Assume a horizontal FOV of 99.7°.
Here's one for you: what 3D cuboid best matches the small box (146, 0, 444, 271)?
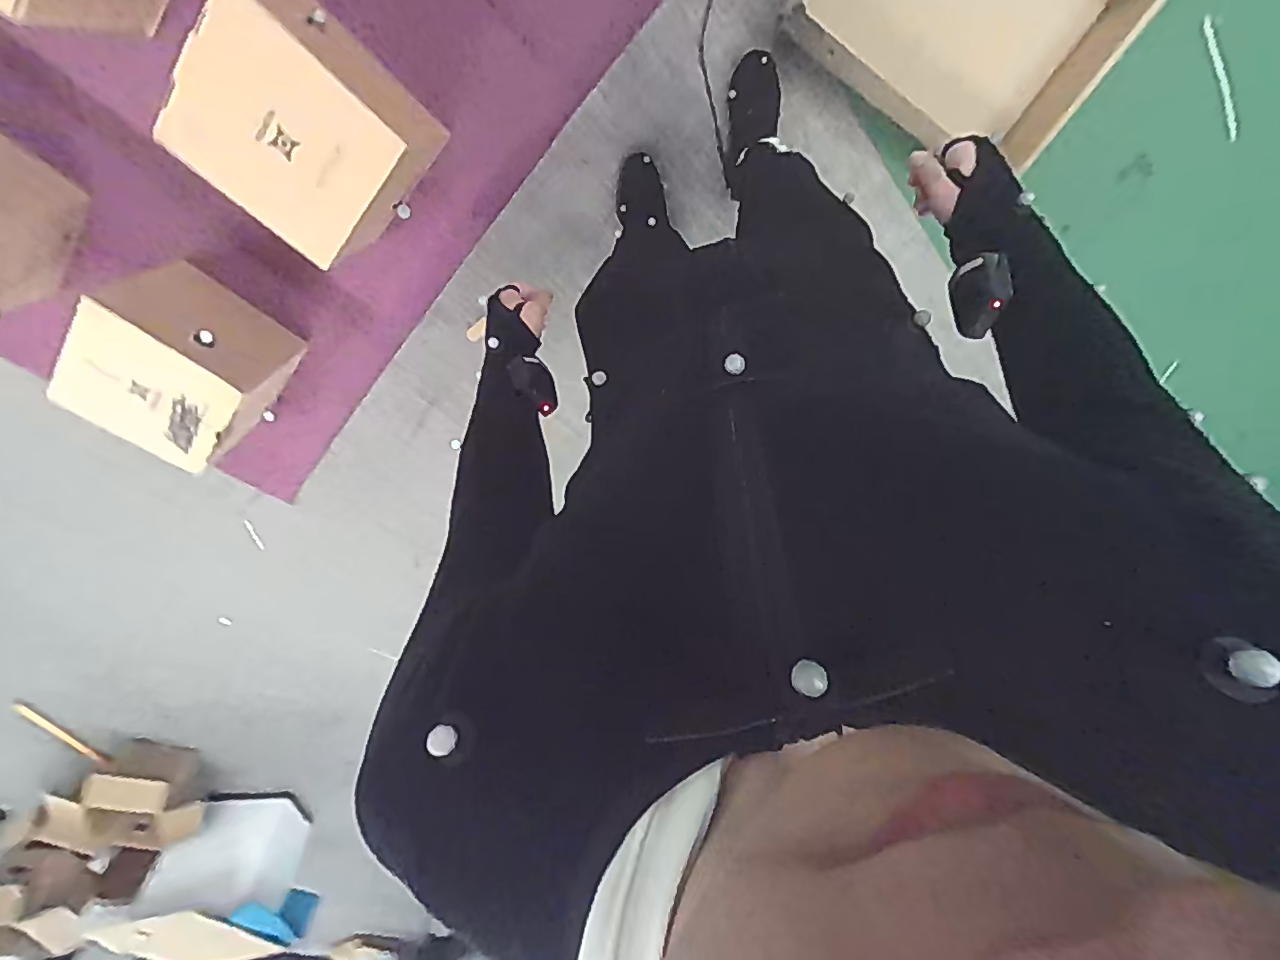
[{"bbox_3d":[-0.343,-0.359,0.571,0.168,0.176,0.179,-39,118,24],"label":"small box"}]

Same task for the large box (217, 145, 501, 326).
[{"bbox_3d":[-0.579,-0.623,1.186,0.408,0.320,0.320,38,115,-24],"label":"large box"}]

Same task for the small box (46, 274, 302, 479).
[{"bbox_3d":[-0.594,-0.141,0.714,0.179,0.176,0.168,37,116,-23],"label":"small box"}]

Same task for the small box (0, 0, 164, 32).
[{"bbox_3d":[-0.530,-0.520,0.448,0.168,0.176,0.179,-39,120,22],"label":"small box"}]
